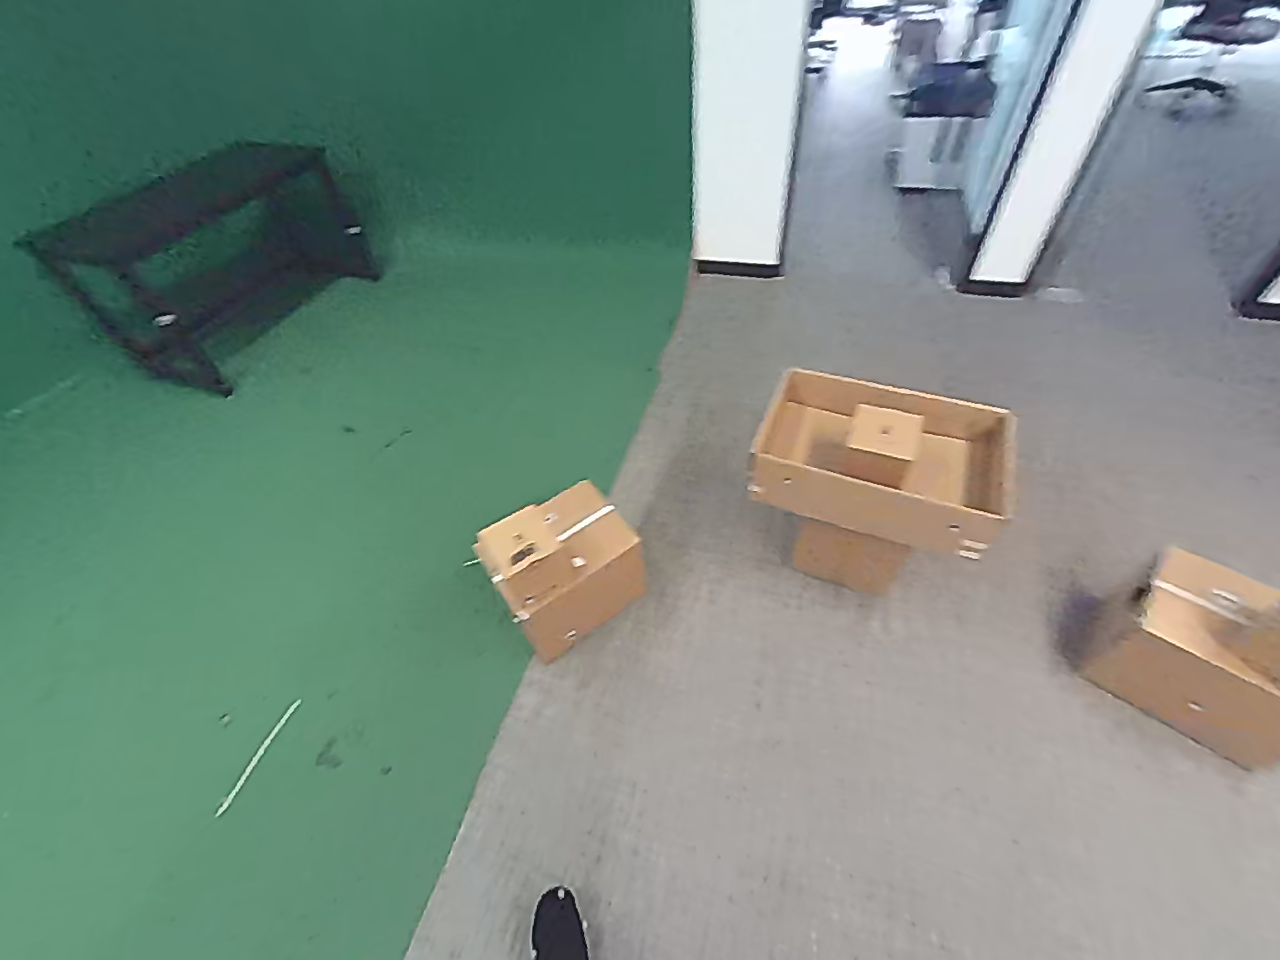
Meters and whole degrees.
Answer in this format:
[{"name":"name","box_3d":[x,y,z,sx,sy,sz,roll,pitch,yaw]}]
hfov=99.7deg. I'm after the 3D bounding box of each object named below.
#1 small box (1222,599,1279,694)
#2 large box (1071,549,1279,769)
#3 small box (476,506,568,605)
[{"name":"small box","box_3d":[1.453,0.353,1.175,0.179,0.176,0.168,-26,52,-15]},{"name":"large box","box_3d":[1.461,0.459,1.408,0.408,0.320,0.320,30,57,28]},{"name":"small box","box_3d":[-0.310,0.210,1.450,0.168,0.176,0.179,-28,53,-20]}]
